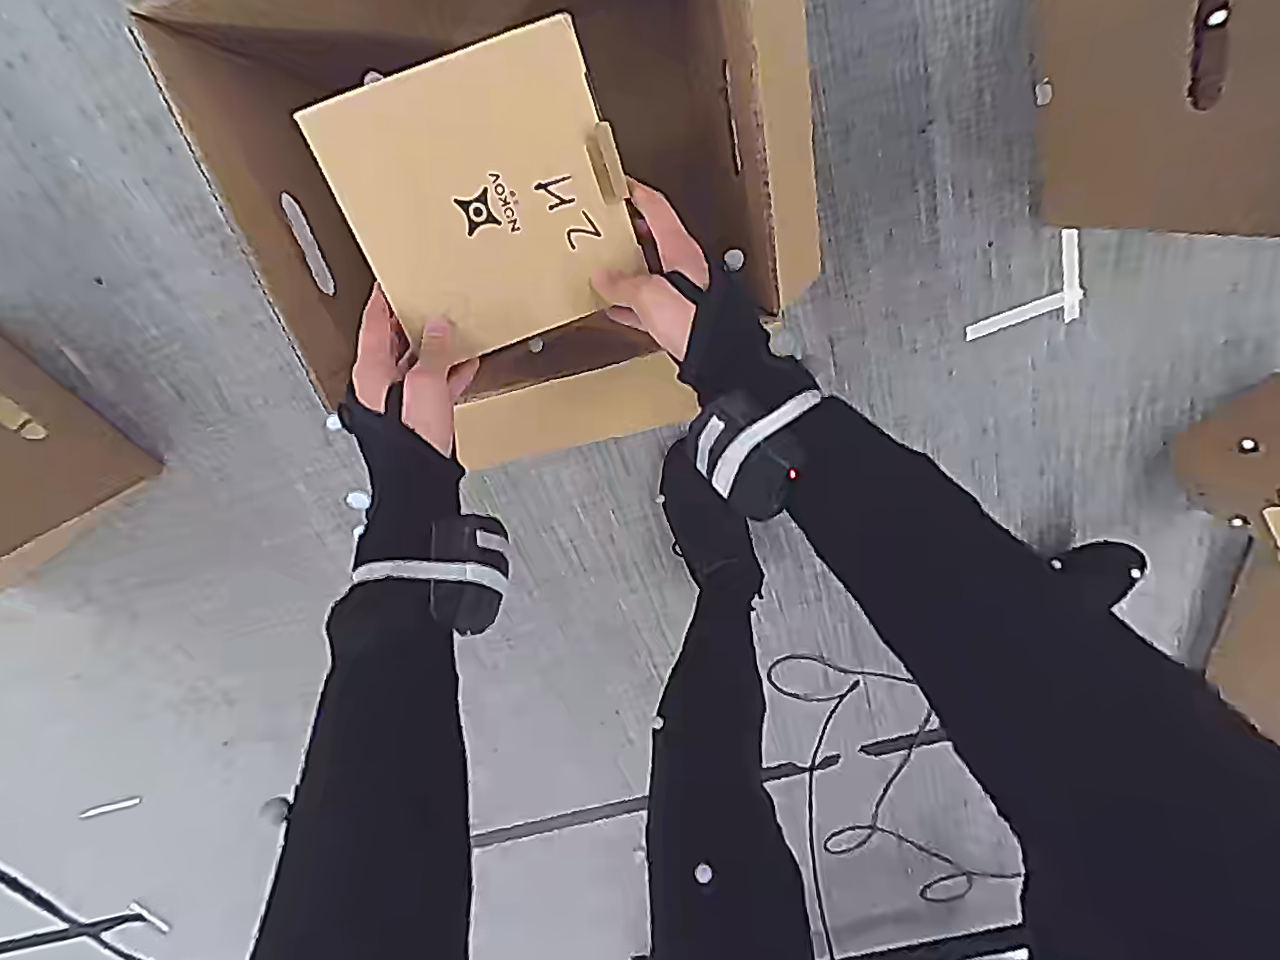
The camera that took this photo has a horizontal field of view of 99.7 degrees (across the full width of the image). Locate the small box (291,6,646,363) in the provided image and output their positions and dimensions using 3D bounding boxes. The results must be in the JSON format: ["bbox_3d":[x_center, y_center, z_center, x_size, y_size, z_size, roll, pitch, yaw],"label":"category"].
[{"bbox_3d":[-0.111,-0.208,0.420,0.179,0.176,0.168,-21,115,0],"label":"small box"}]

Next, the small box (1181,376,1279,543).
[{"bbox_3d":[0.946,-0.021,0.777,0.179,0.176,0.168,-40,111,16],"label":"small box"}]
